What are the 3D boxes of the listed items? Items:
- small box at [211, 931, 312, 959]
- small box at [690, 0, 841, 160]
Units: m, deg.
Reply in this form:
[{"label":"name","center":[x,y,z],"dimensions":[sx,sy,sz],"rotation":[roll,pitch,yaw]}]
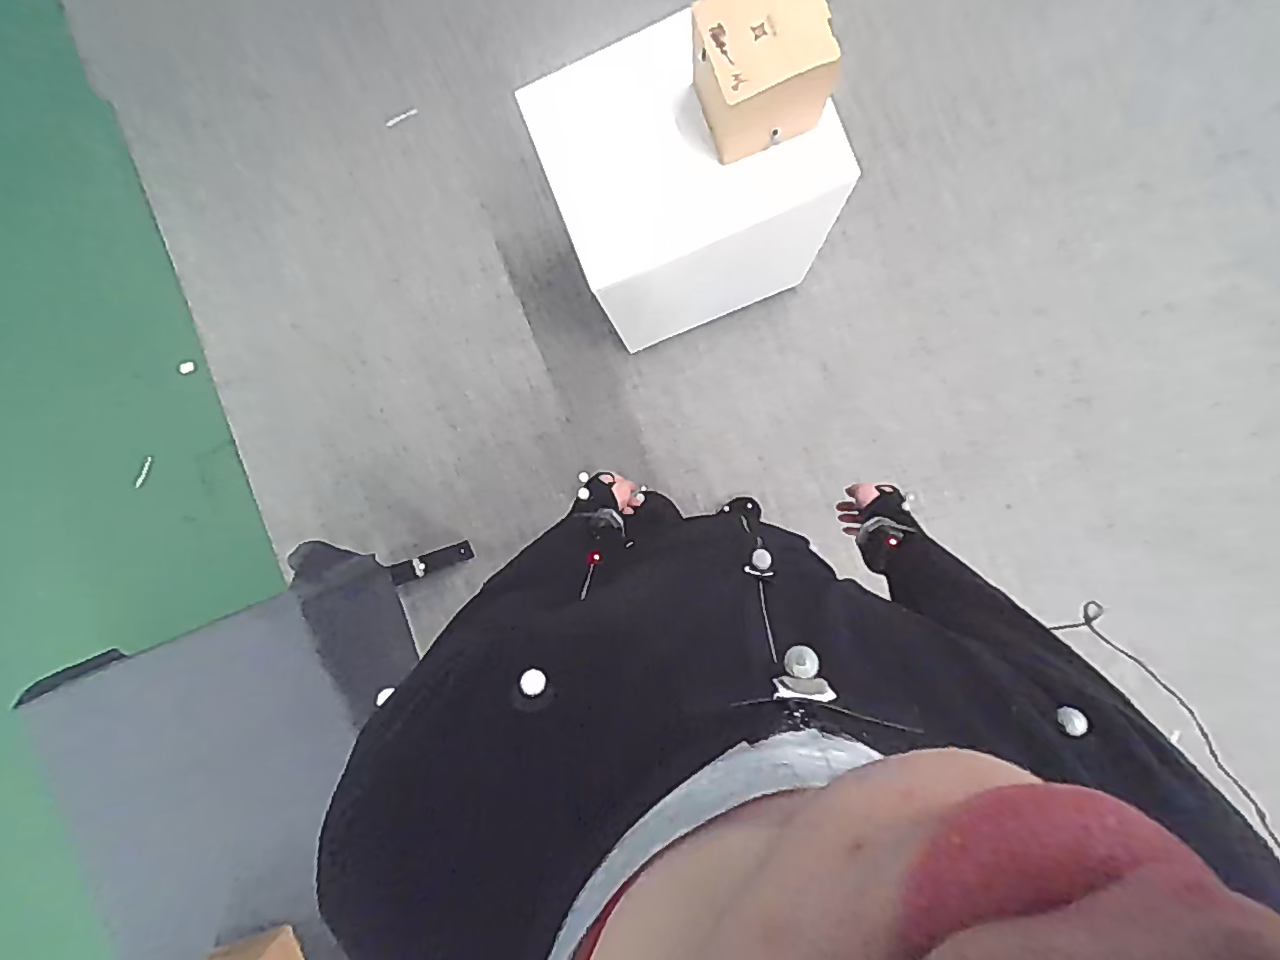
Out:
[{"label":"small box","center":[-0.641,0.872,0.861],"dimensions":[0.168,0.176,0.179],"rotation":[-23,91,7]},{"label":"small box","center":[0.186,-0.653,0.854],"dimensions":[0.179,0.176,0.168],"rotation":[-20,90,5]}]
